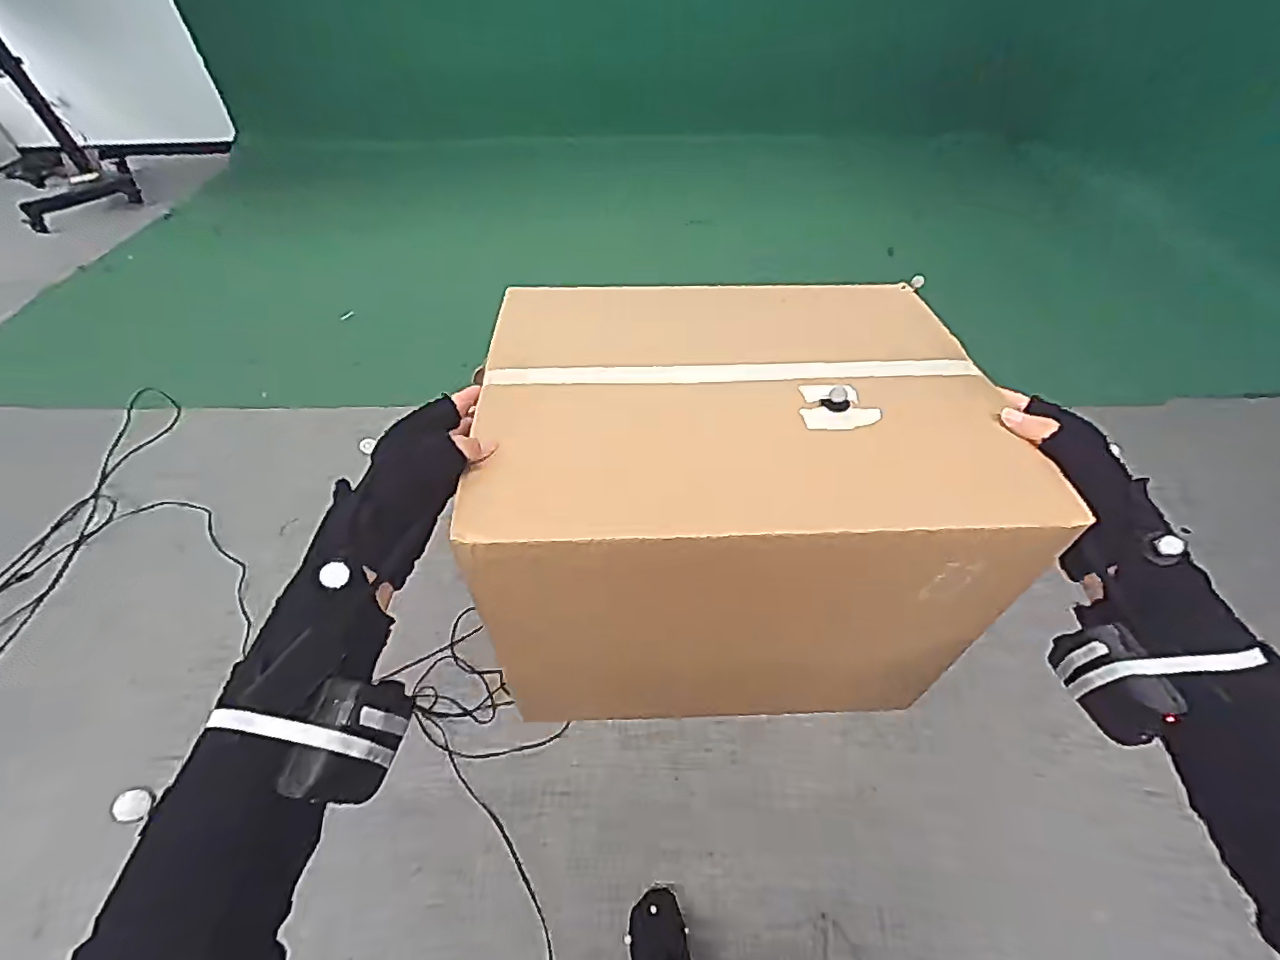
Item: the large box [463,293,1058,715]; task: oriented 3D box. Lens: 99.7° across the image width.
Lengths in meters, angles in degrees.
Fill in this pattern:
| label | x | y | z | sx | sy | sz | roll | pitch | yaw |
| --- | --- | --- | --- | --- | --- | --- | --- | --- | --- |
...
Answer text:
| label | x | y | z | sx | sy | sz | roll | pitch | yaw |
| --- | --- | --- | --- | --- | --- | --- | --- | --- | --- |
| large box | 0.071 | 0.024 | 0.558 | 0.408 | 0.320 | 0.320 | -1 | 48 | -3 |
